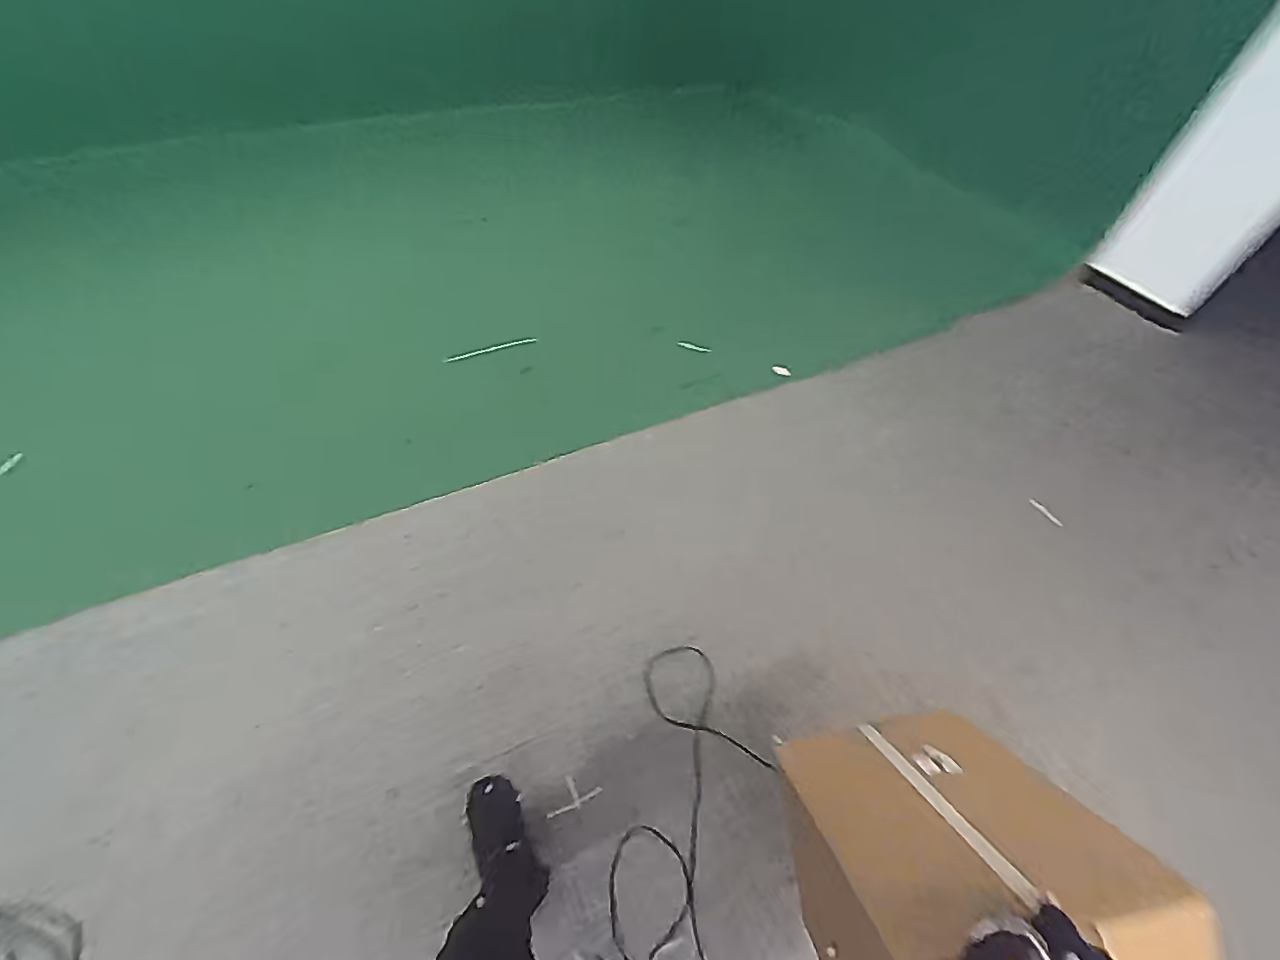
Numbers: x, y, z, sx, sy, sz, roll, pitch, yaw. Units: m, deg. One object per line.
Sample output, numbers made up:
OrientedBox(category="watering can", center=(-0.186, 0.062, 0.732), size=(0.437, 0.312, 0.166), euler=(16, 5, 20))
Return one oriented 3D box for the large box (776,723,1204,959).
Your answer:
OrientedBox(category="large box", center=(0.416, 0.591, 0.720), size=(0.320, 0.408, 0.320), euler=(-9, 91, -3))
